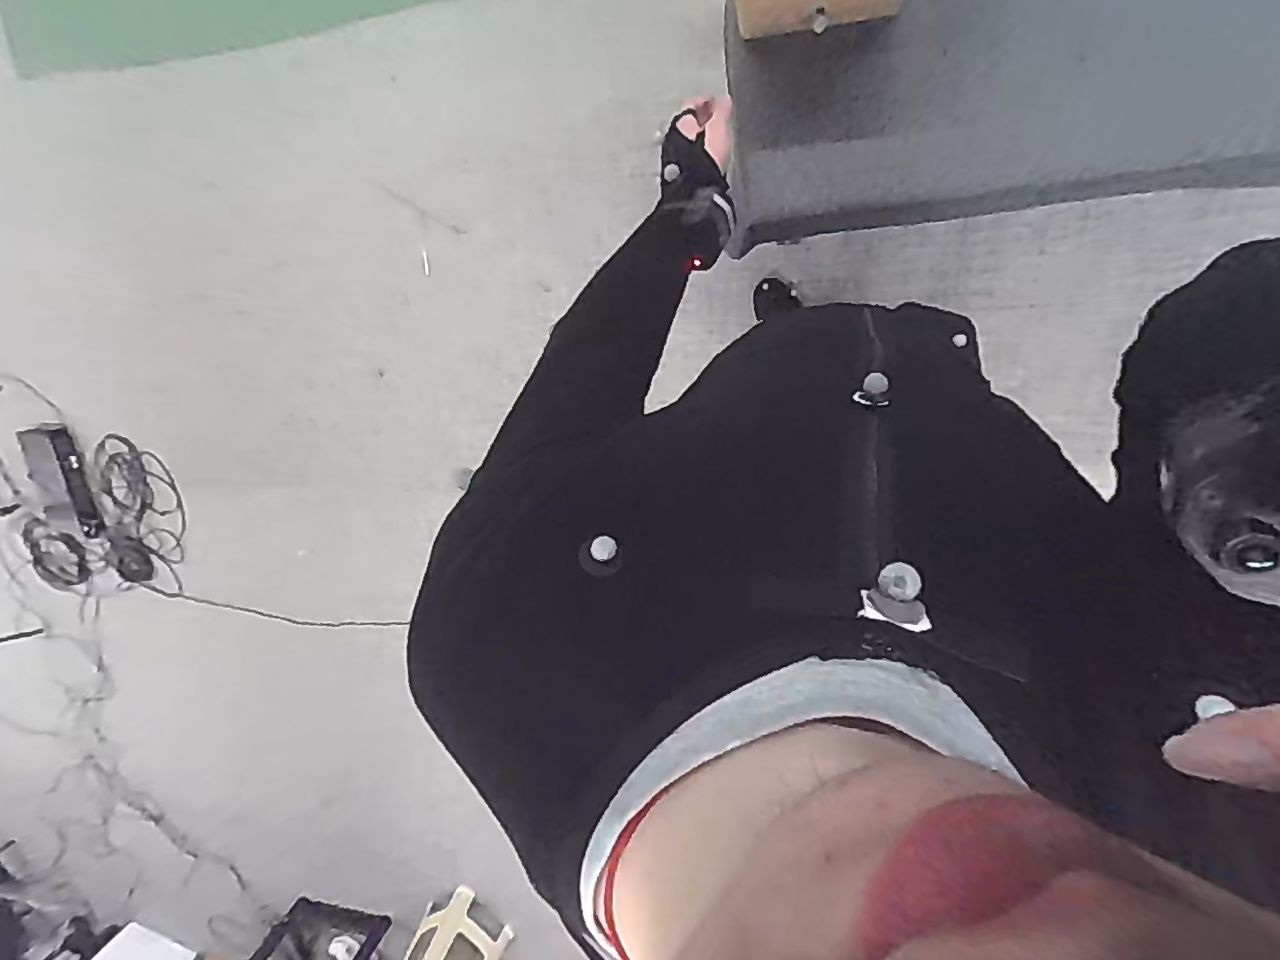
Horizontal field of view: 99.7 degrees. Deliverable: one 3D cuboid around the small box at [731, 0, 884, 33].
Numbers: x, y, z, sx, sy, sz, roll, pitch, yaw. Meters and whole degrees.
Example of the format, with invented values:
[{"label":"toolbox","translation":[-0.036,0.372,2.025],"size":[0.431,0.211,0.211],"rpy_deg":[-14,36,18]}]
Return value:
[{"label":"small box","translation":[0.178,-0.579,0.528],"size":[0.179,0.176,0.168],"rpy_deg":[2,110,13]}]
